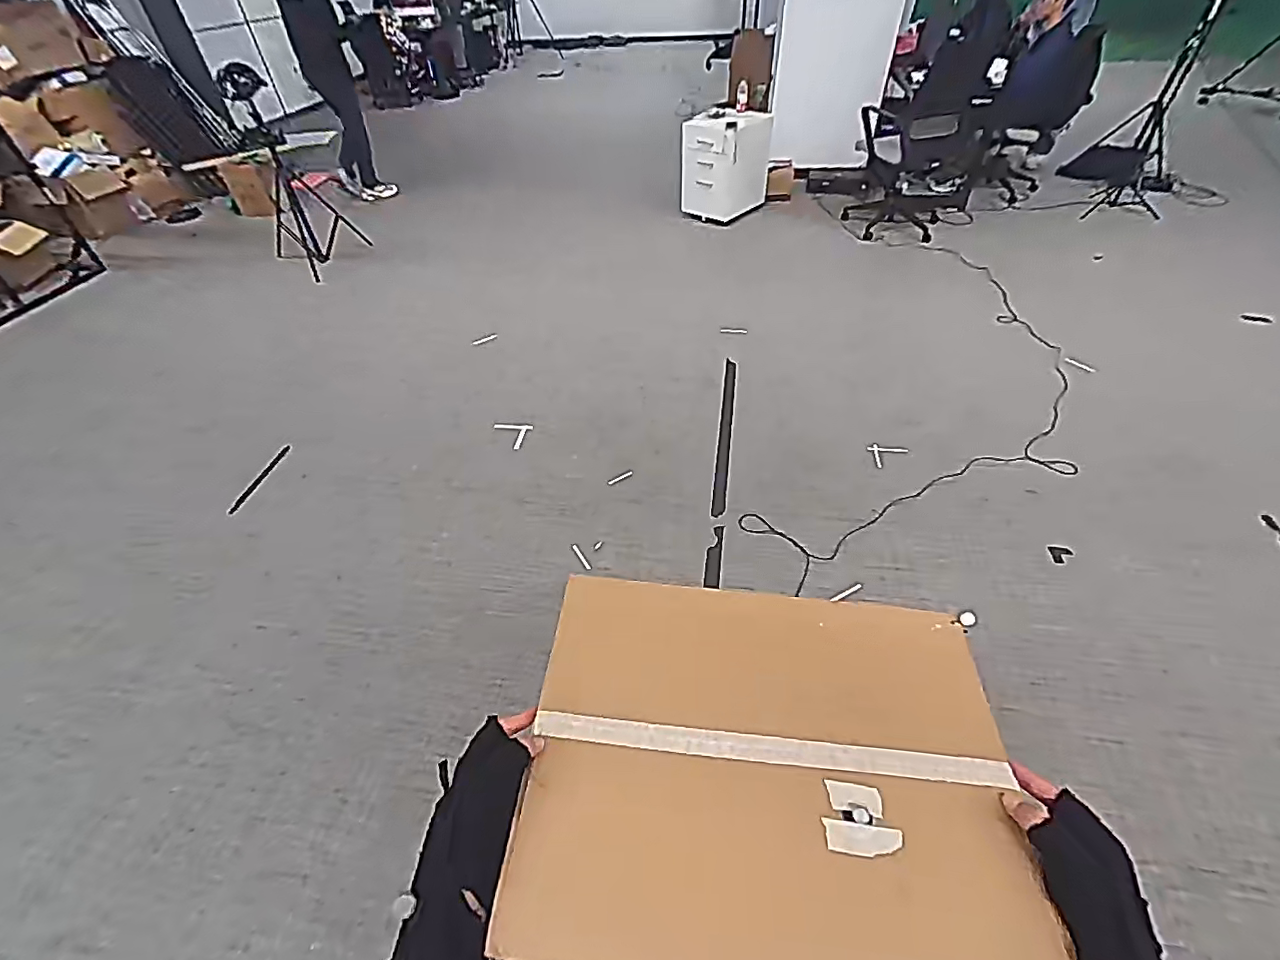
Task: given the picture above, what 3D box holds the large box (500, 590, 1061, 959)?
[{"bbox_3d":[0.106,0.346,0.574,0.408,0.320,0.320,6,47,3],"label":"large box"}]
